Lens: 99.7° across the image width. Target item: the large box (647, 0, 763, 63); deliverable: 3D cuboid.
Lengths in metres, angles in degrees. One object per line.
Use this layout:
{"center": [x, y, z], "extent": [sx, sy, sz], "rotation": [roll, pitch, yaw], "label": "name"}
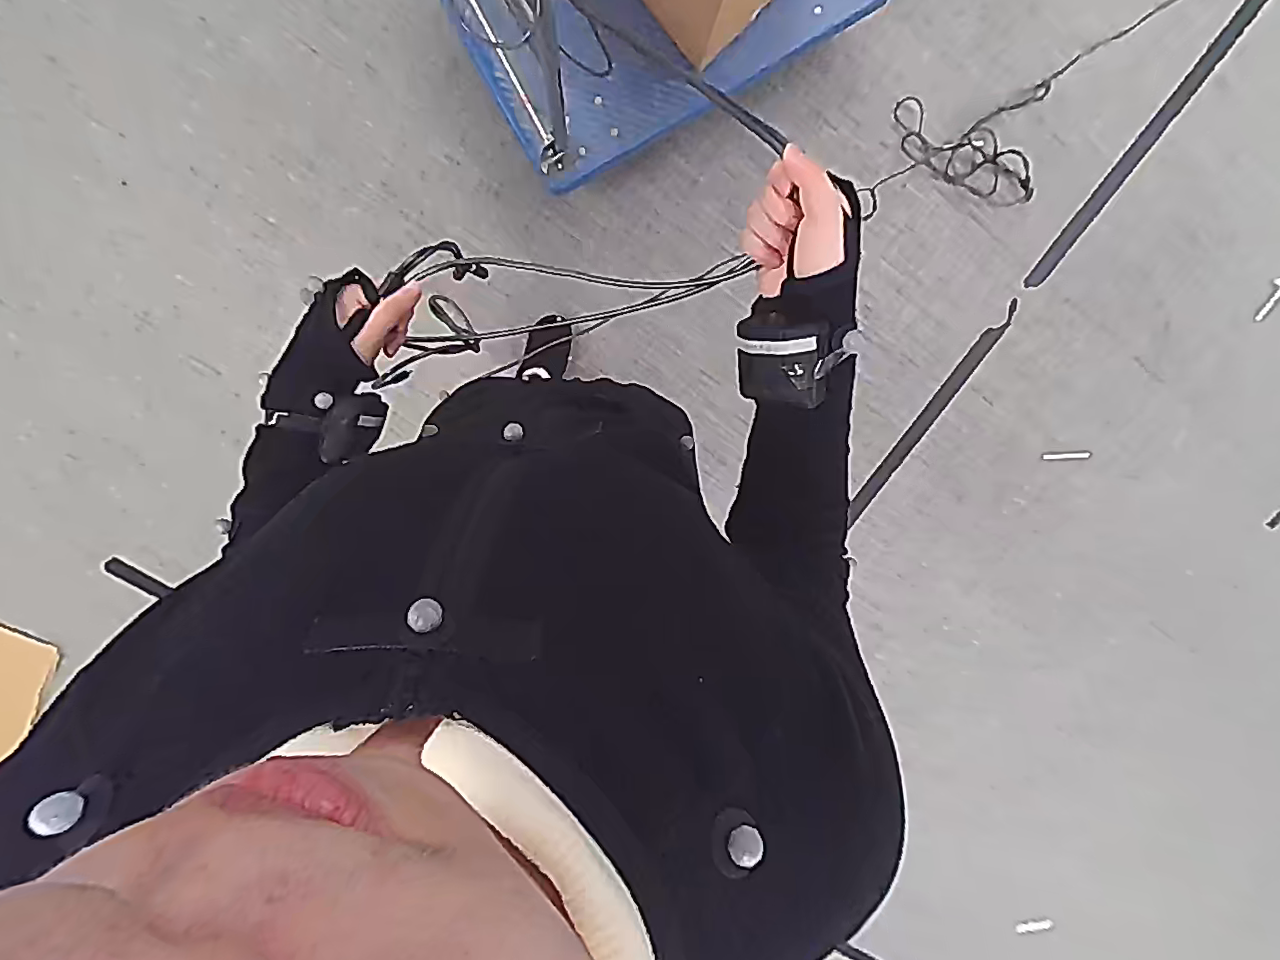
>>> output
{"center": [0.109, -1.087, 0.951], "extent": [0.320, 0.320, 0.408], "rotation": [-44, 102, 6], "label": "large box"}
